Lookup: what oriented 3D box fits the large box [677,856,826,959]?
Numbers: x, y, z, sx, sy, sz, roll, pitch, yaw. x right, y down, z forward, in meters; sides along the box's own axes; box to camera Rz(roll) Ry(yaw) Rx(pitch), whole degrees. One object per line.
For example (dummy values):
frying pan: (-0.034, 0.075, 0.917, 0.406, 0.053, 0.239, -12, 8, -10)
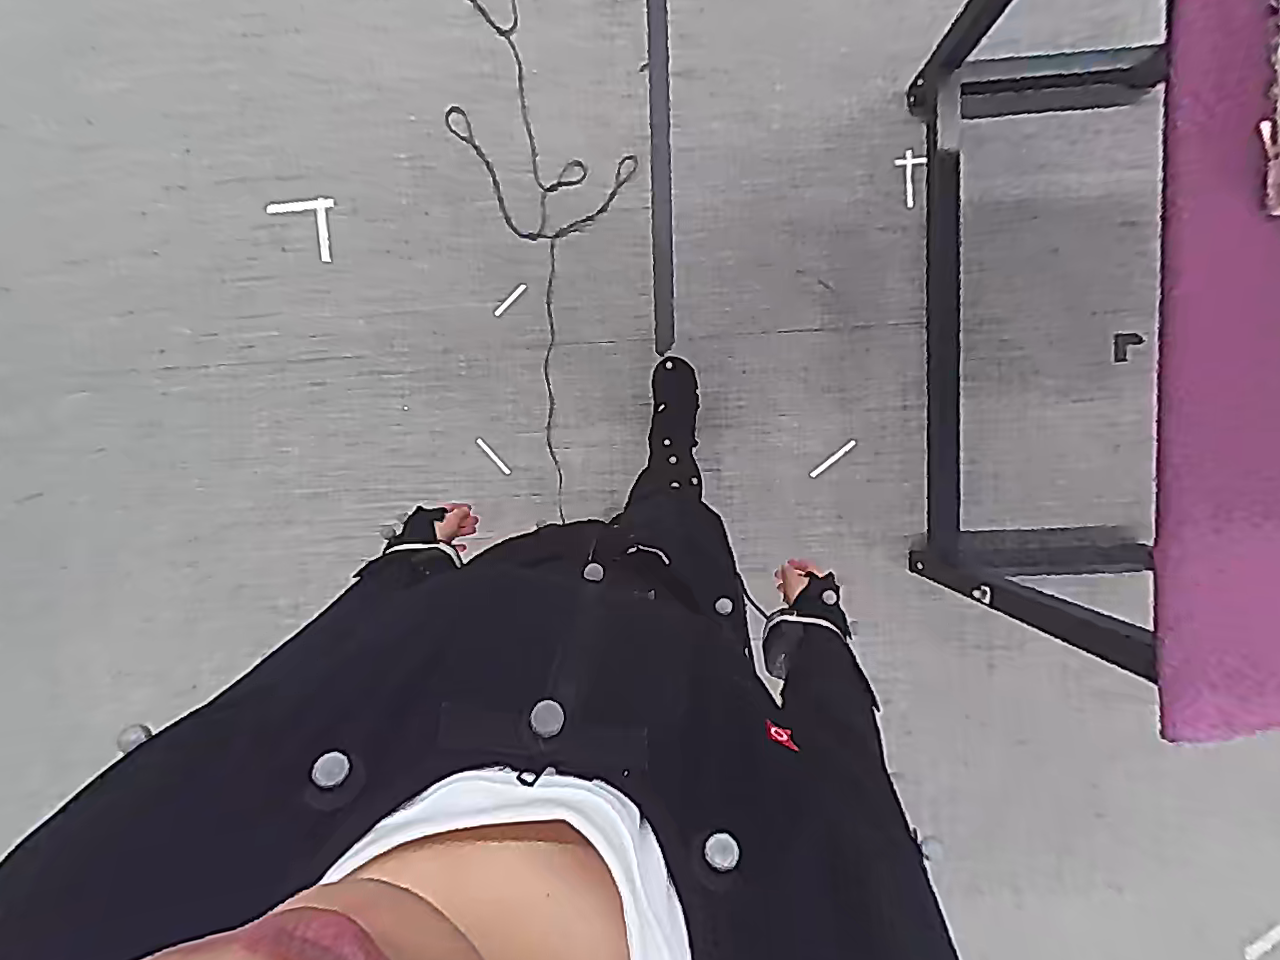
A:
large box: (0.255, 1.191, 1.274, 0.320, 0.320, 0.408, -3, 92, 2)
